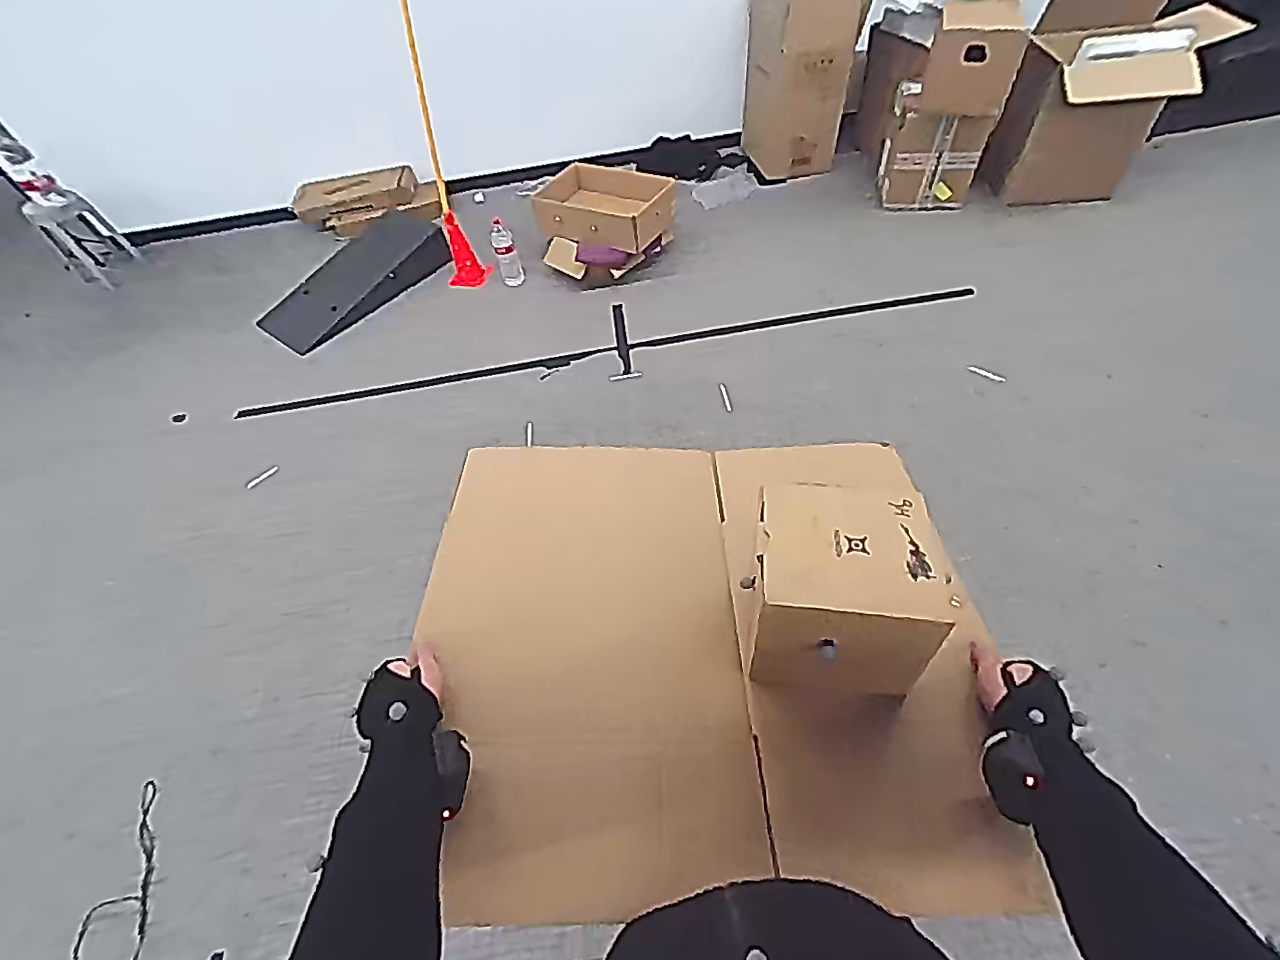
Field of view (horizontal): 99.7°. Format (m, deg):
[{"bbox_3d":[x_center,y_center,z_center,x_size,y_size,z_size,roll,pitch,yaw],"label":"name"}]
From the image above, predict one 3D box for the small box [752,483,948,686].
[{"bbox_3d":[0.222,0.122,0.625,0.179,0.176,0.168,3,47,10],"label":"small box"}]
